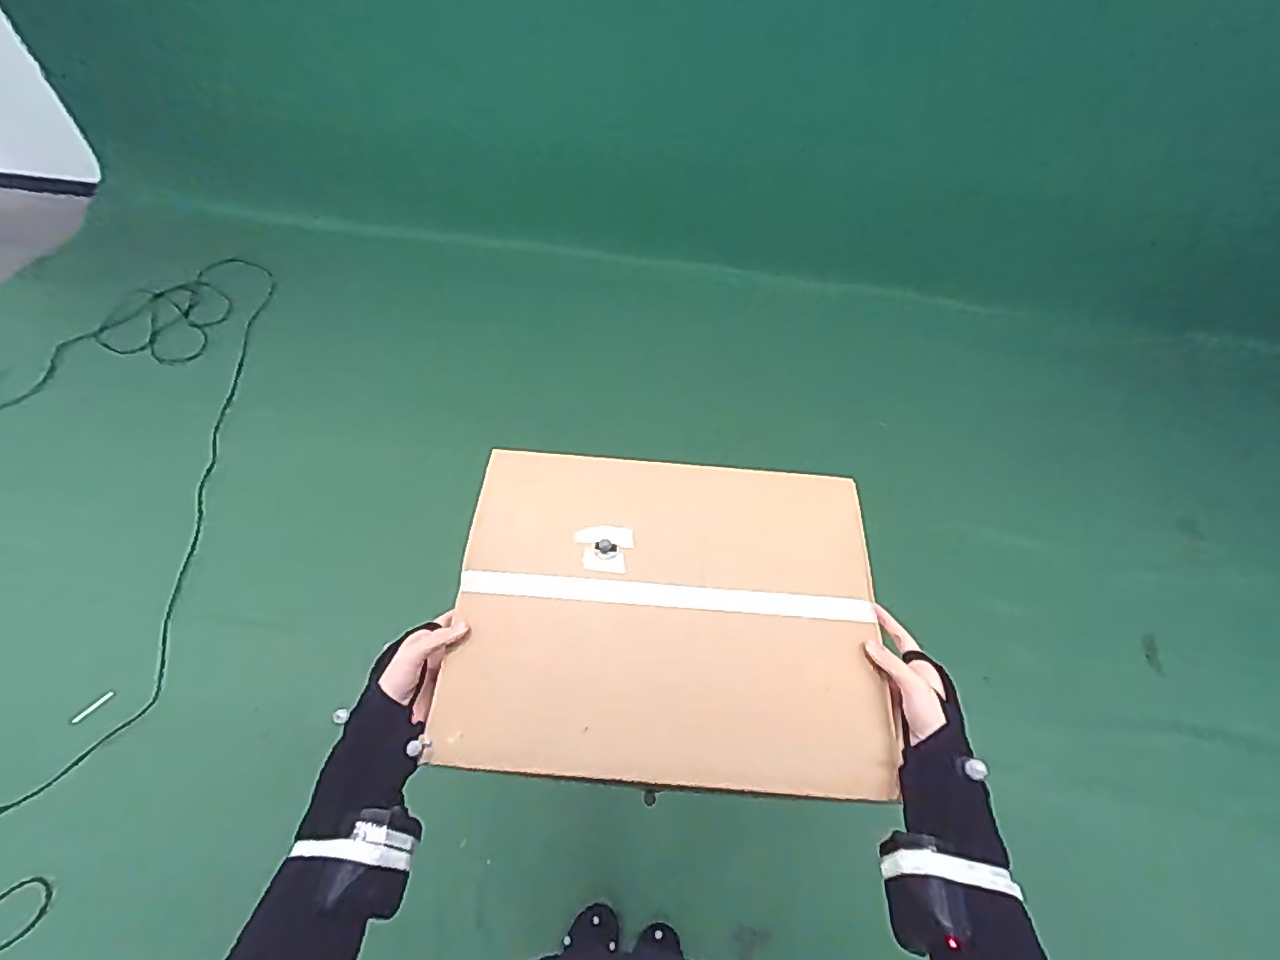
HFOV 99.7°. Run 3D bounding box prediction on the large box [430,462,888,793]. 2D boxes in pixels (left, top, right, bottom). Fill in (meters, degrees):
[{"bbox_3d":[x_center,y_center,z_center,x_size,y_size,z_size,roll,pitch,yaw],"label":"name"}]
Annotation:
[{"bbox_3d":[0.023,0.195,0.665,0.408,0.320,0.320,4,59,1],"label":"large box"}]
